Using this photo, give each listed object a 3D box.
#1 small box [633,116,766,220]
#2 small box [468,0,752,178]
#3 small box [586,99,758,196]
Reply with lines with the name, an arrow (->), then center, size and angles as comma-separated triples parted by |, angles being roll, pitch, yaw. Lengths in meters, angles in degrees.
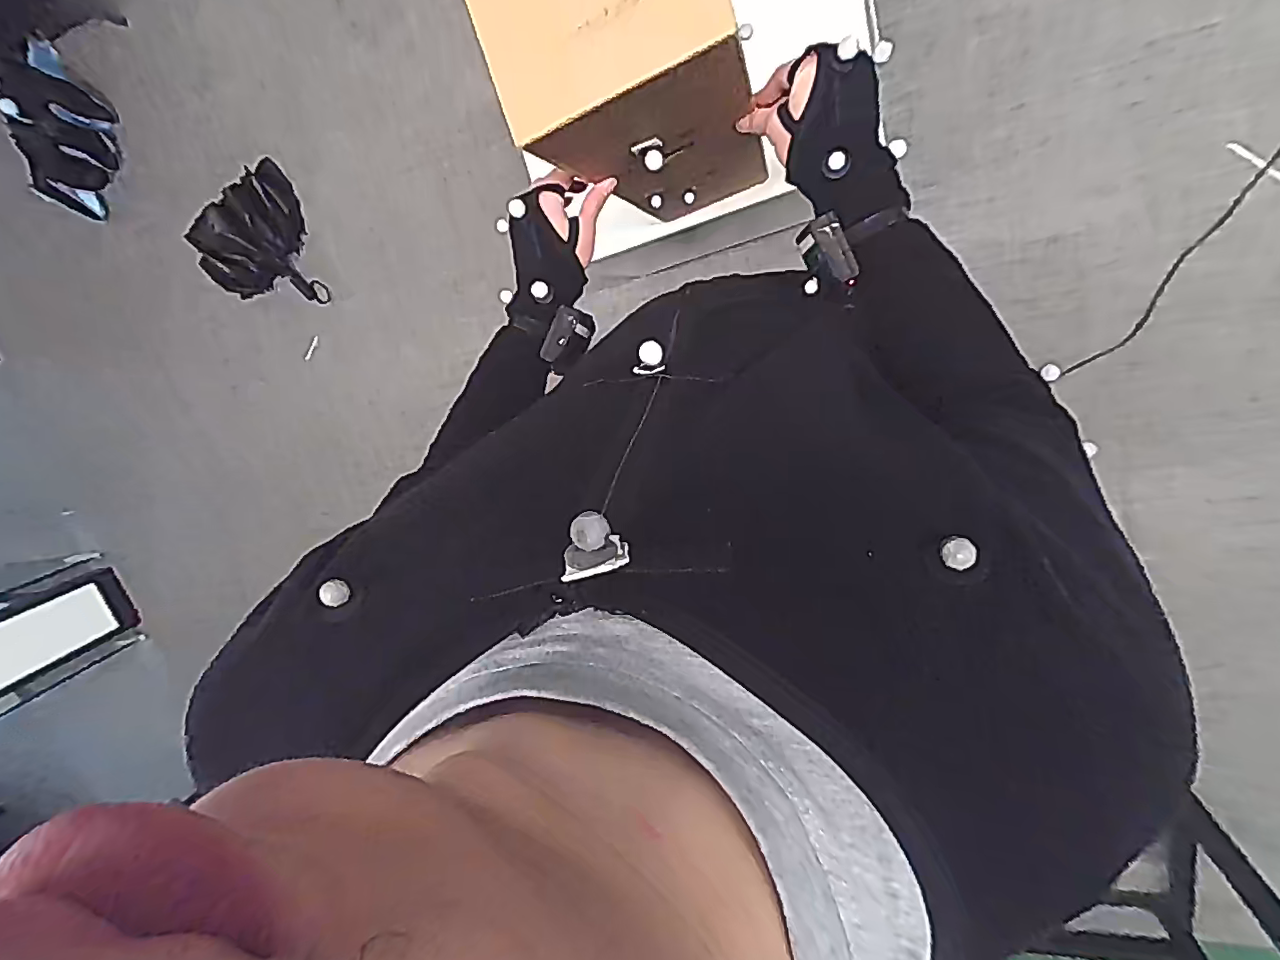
small box -> 0.062, -0.468, 0.709 | 0.168, 0.176, 0.179 | -15, 104, 20
small box -> -0.020, -0.363, 0.409 | 0.168, 0.176, 0.179 | -15, 104, 20
small box -> 0.020, -0.416, 0.558 | 0.168, 0.176, 0.179 | -14, 103, 19
